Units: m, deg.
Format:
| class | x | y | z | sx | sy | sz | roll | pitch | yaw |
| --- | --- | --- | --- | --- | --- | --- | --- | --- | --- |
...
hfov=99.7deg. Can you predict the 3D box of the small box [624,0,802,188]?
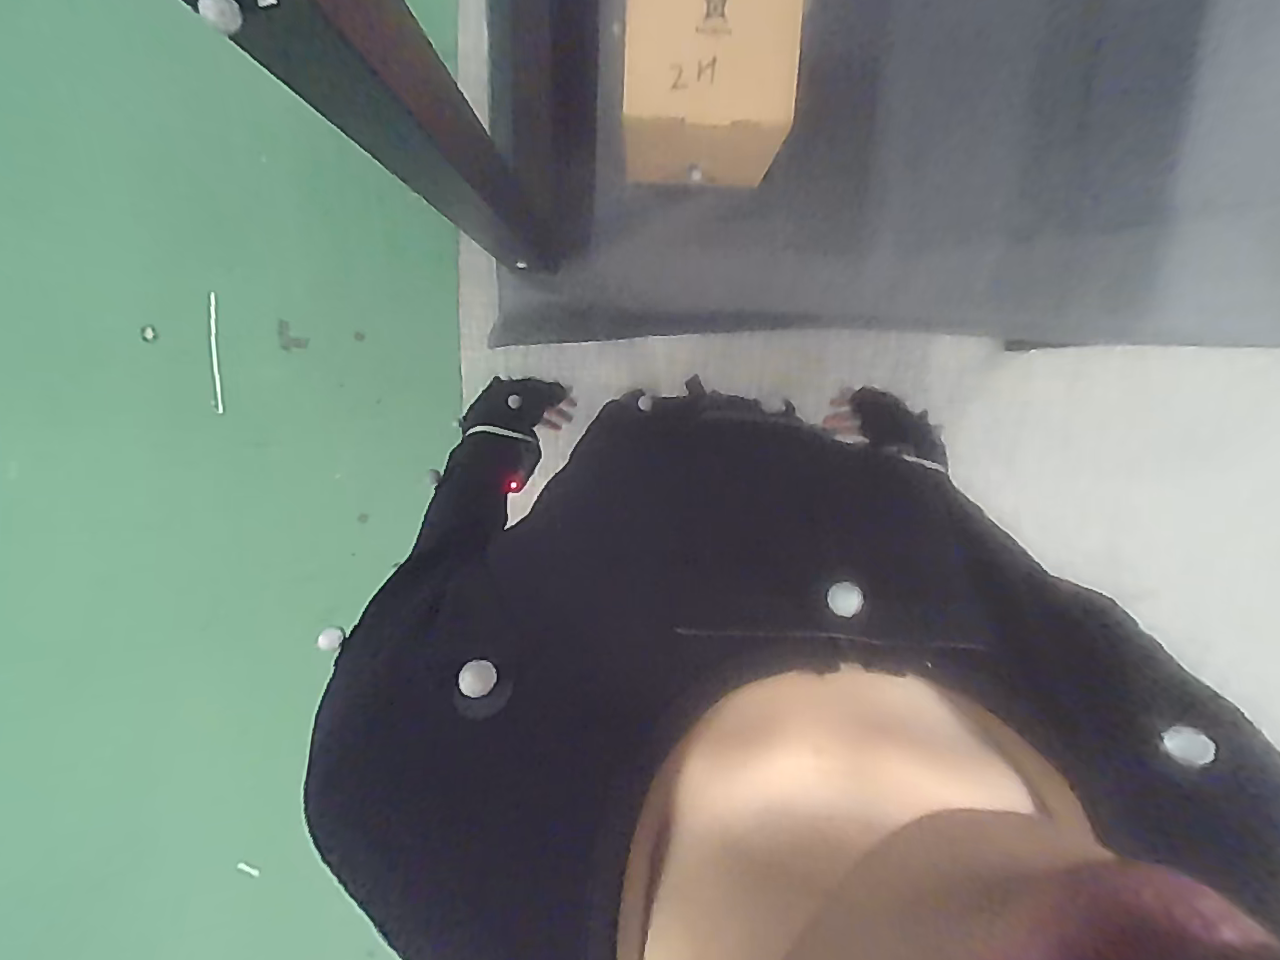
| class | x | y | z | sx | sy | sz | roll | pitch | yaw |
| --- | --- | --- | --- | --- | --- | --- | --- | --- | --- |
| small box | 0.069 | -0.444 | 0.586 | 0.168 | 0.176 | 0.179 | 2 | 100 | 0 |
